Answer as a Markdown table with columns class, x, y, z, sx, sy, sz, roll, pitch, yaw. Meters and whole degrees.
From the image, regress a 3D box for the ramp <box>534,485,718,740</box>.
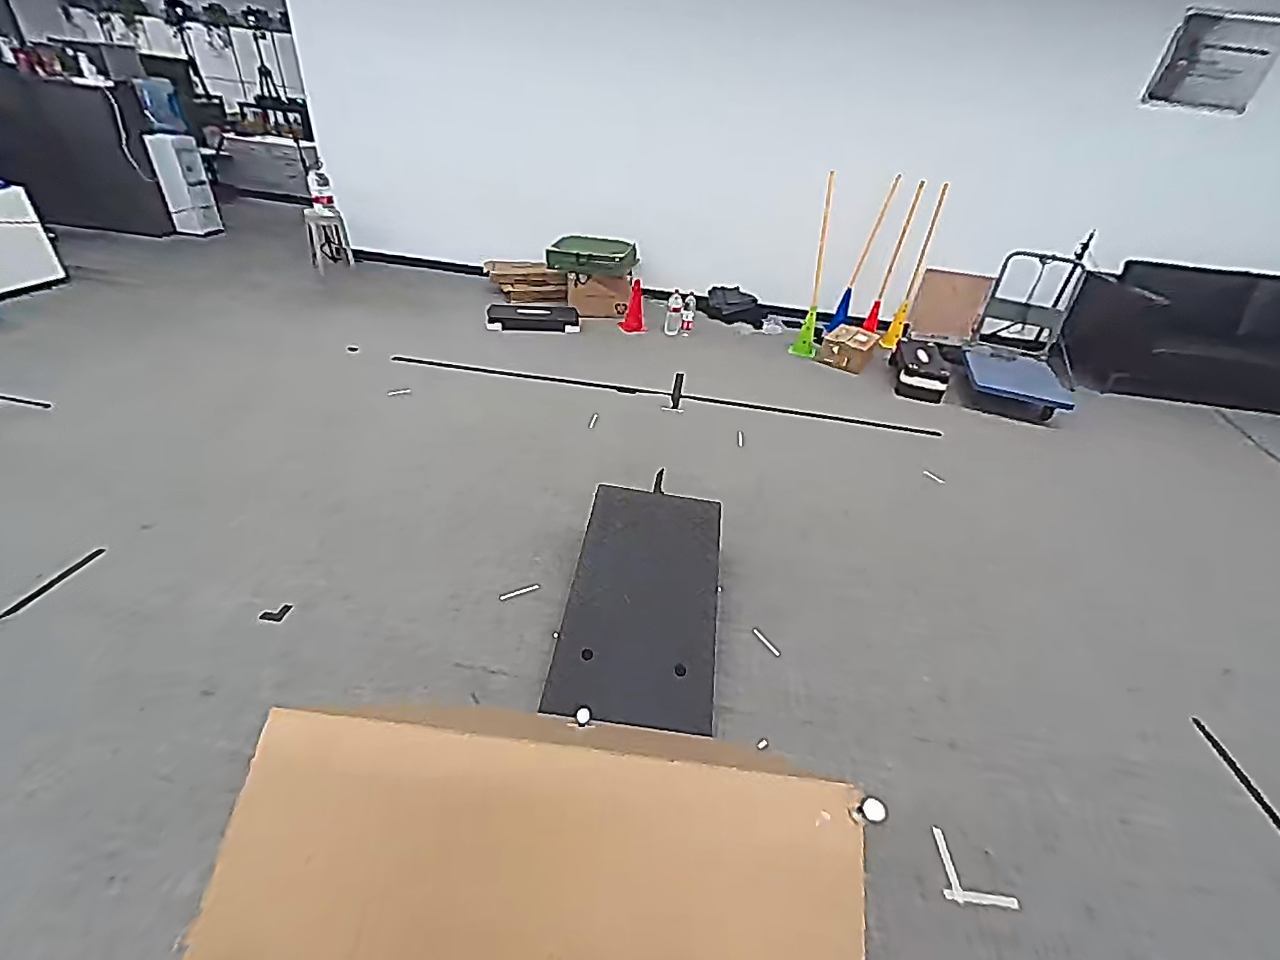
| class | x | y | z | sx | sy | sz | roll | pitch | yaw |
| --- | --- | --- | --- | --- | --- | --- | --- | --- | --- |
| ramp | 0.002 | 0.412 | 1.787 | 0.509 | 0.206 | 0.991 | 9 | 36 | 0 |

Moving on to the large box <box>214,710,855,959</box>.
| class | x | y | z | sx | sy | sz | roll | pitch | yaw |
| --- | --- | --- | --- | --- | --- | --- | --- | --- | --- |
| large box | -0.074 | 0.385 | 0.462 | 0.408 | 0.320 | 0.320 | 7 | 70 | 0 |
